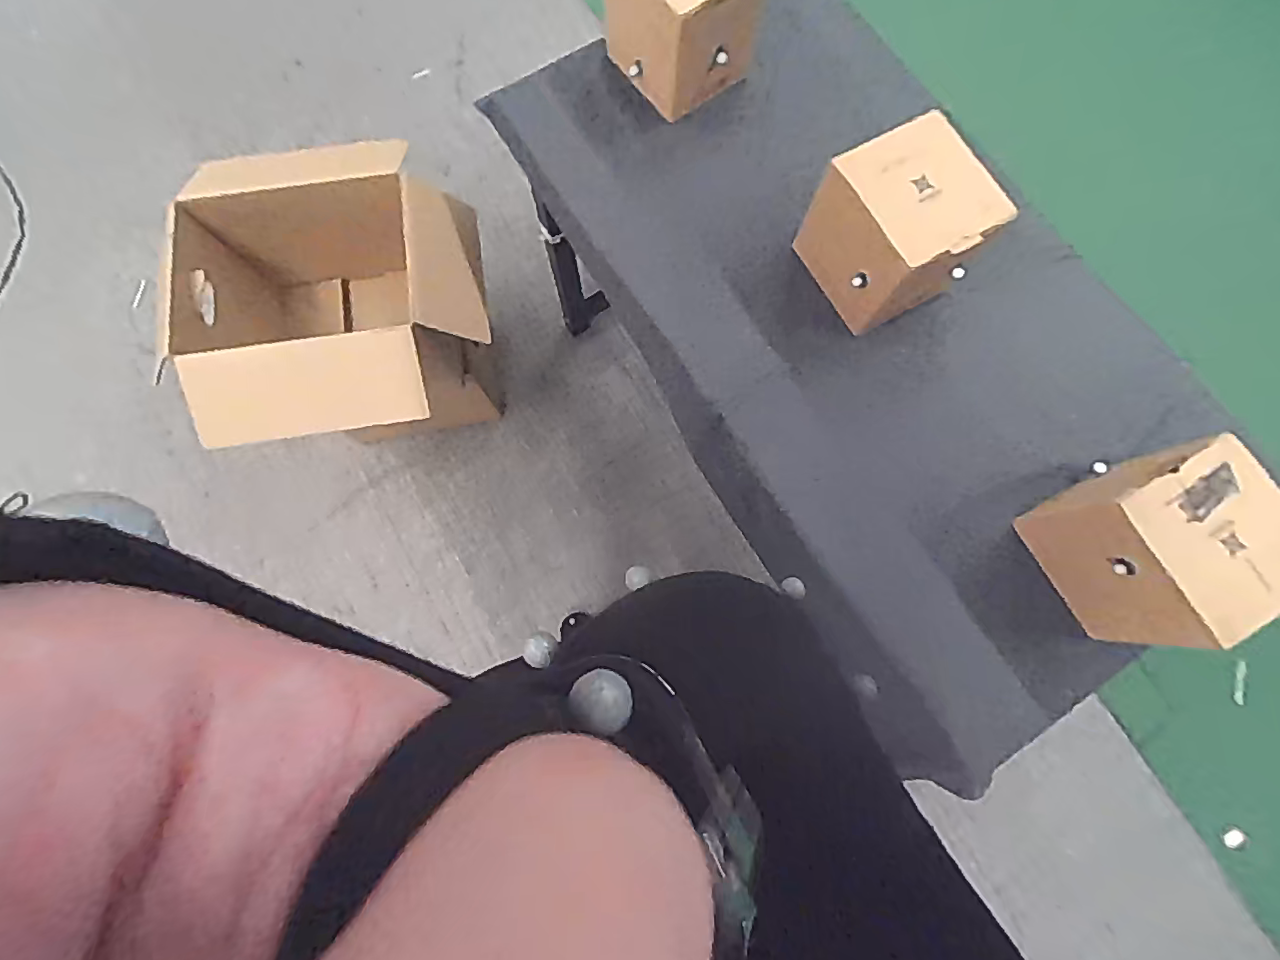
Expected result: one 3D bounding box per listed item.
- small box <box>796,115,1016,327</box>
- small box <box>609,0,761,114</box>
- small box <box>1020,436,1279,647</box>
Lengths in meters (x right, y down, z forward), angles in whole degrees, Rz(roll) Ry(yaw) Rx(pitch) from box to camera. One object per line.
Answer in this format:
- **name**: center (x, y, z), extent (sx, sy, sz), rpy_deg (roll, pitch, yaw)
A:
- **small box**: center (0.344, -0.335, 0.737), extent (0.168, 0.176, 0.179), rpy_deg (-28, 78, -8)
- **small box**: center (0.067, -0.698, 0.814), extent (0.168, 0.176, 0.179), rpy_deg (-36, 81, -8)
- **small box**: center (0.612, 0.078, 0.642), extent (0.168, 0.176, 0.179), rpy_deg (-28, 80, -6)
